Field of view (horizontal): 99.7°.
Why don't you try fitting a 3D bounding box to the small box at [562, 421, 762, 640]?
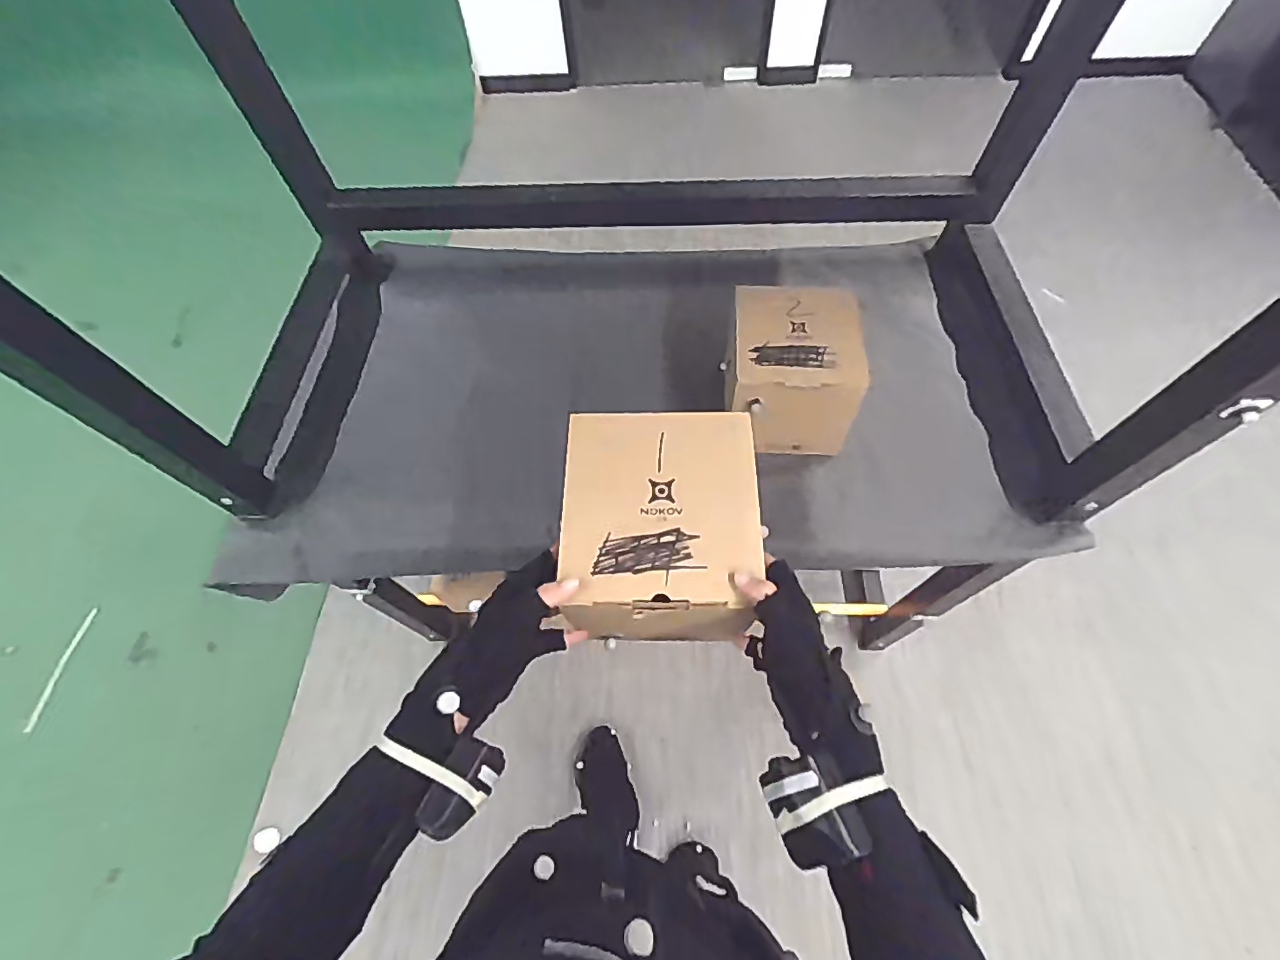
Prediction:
[{"bbox_3d":[0.023,0.058,0.541,0.168,0.176,0.179,0,63,2],"label":"small box"}]
